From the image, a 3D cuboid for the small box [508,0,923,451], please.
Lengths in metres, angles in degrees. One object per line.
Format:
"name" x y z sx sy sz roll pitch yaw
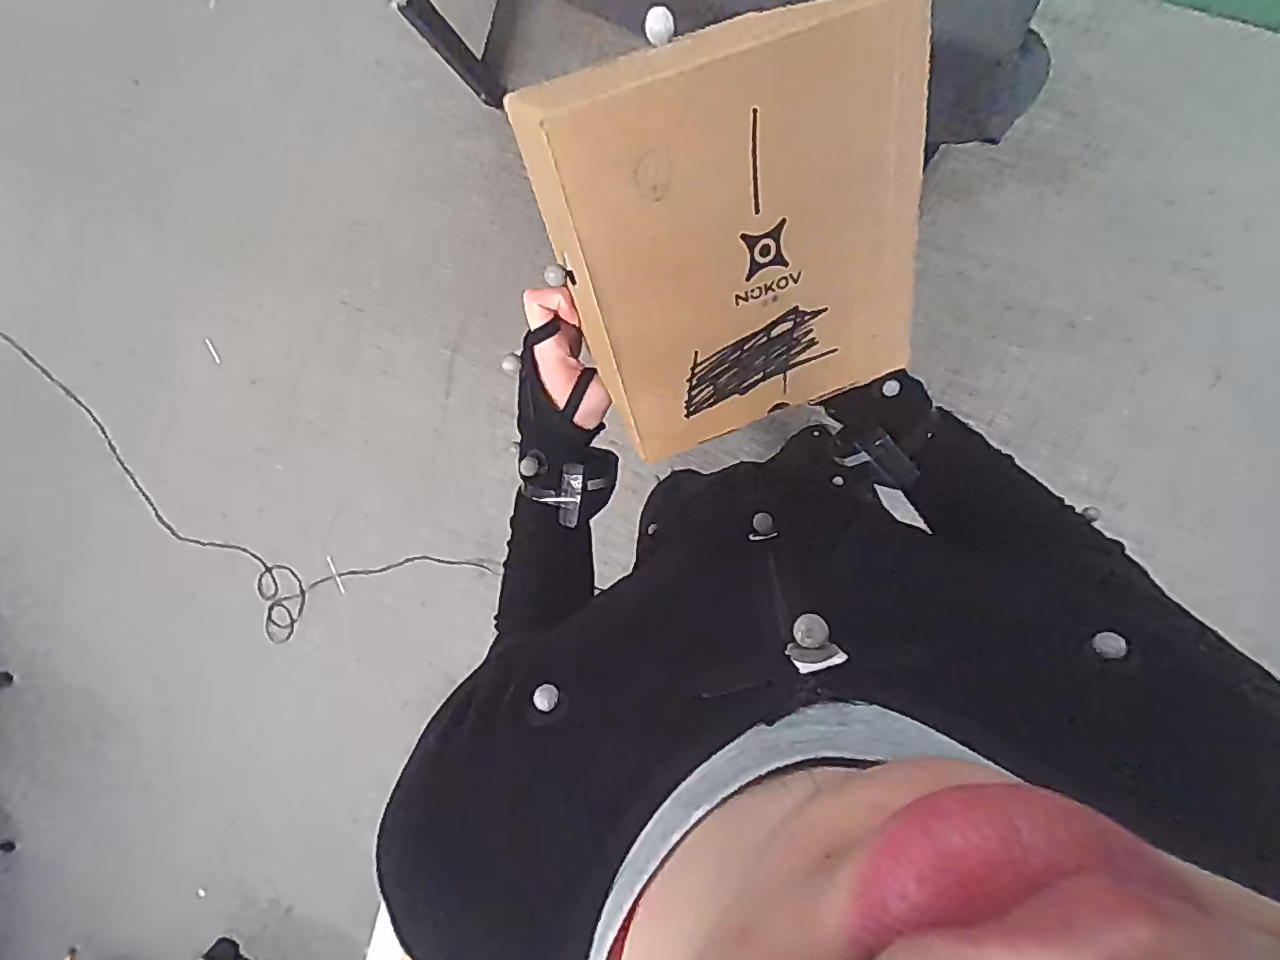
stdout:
"small box" 0.033 -0.153 0.323 0.168 0.176 0.179 -21 129 -4
